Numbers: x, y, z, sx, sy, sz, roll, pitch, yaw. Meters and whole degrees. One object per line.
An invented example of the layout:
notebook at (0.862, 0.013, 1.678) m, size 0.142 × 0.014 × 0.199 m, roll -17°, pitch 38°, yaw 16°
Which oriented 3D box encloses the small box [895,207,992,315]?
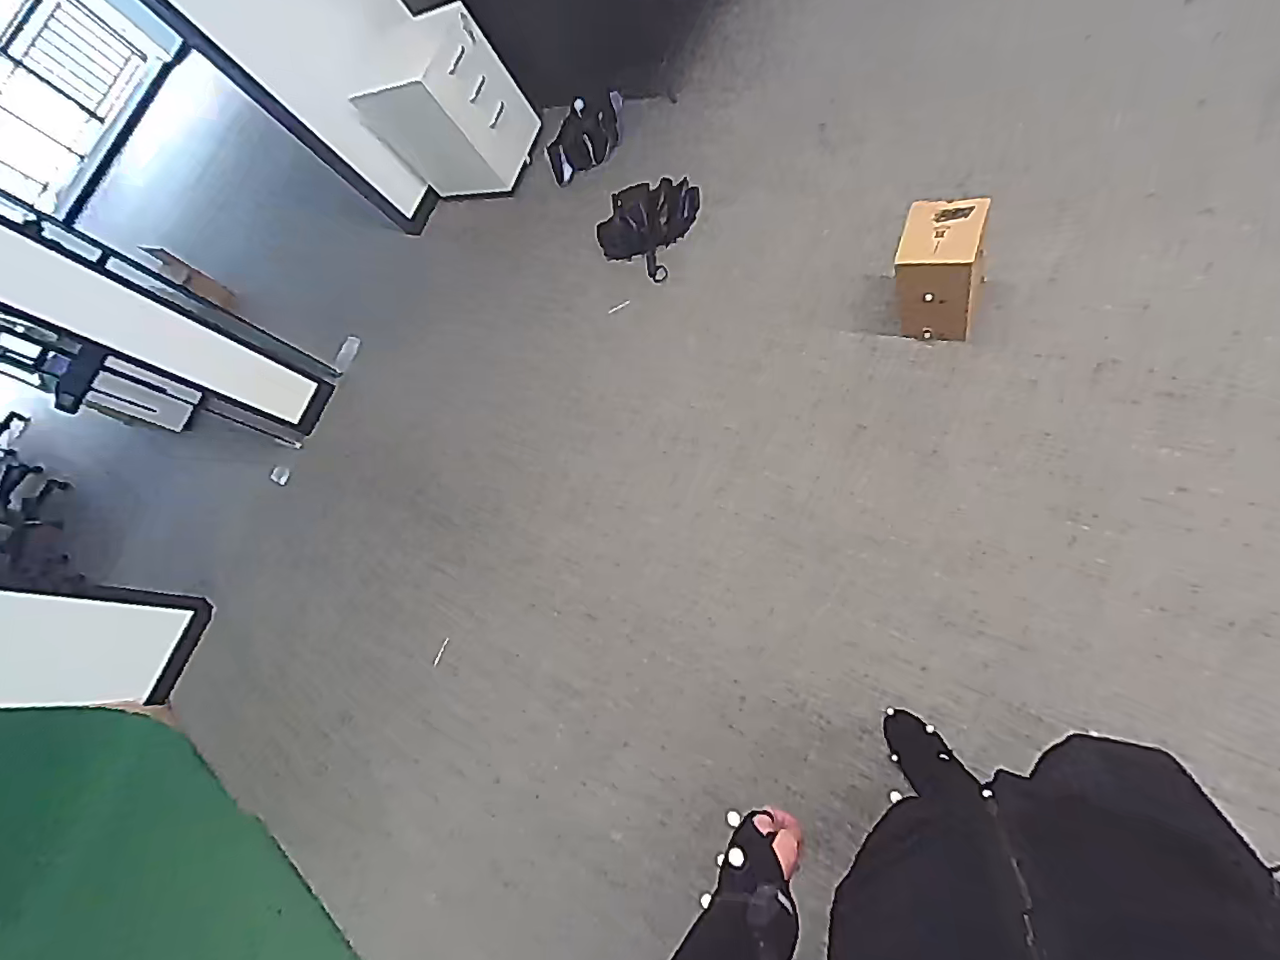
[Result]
small box at (0.729, -0.527, 1.309) m, size 0.168 × 0.176 × 0.179 m, roll 15°, pitch 79°, yaw 32°

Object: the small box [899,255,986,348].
small box at (0.805, -0.478, 1.447) m, size 0.168 × 0.176 × 0.179 m, roll 15°, pitch 80°, yaw 32°
